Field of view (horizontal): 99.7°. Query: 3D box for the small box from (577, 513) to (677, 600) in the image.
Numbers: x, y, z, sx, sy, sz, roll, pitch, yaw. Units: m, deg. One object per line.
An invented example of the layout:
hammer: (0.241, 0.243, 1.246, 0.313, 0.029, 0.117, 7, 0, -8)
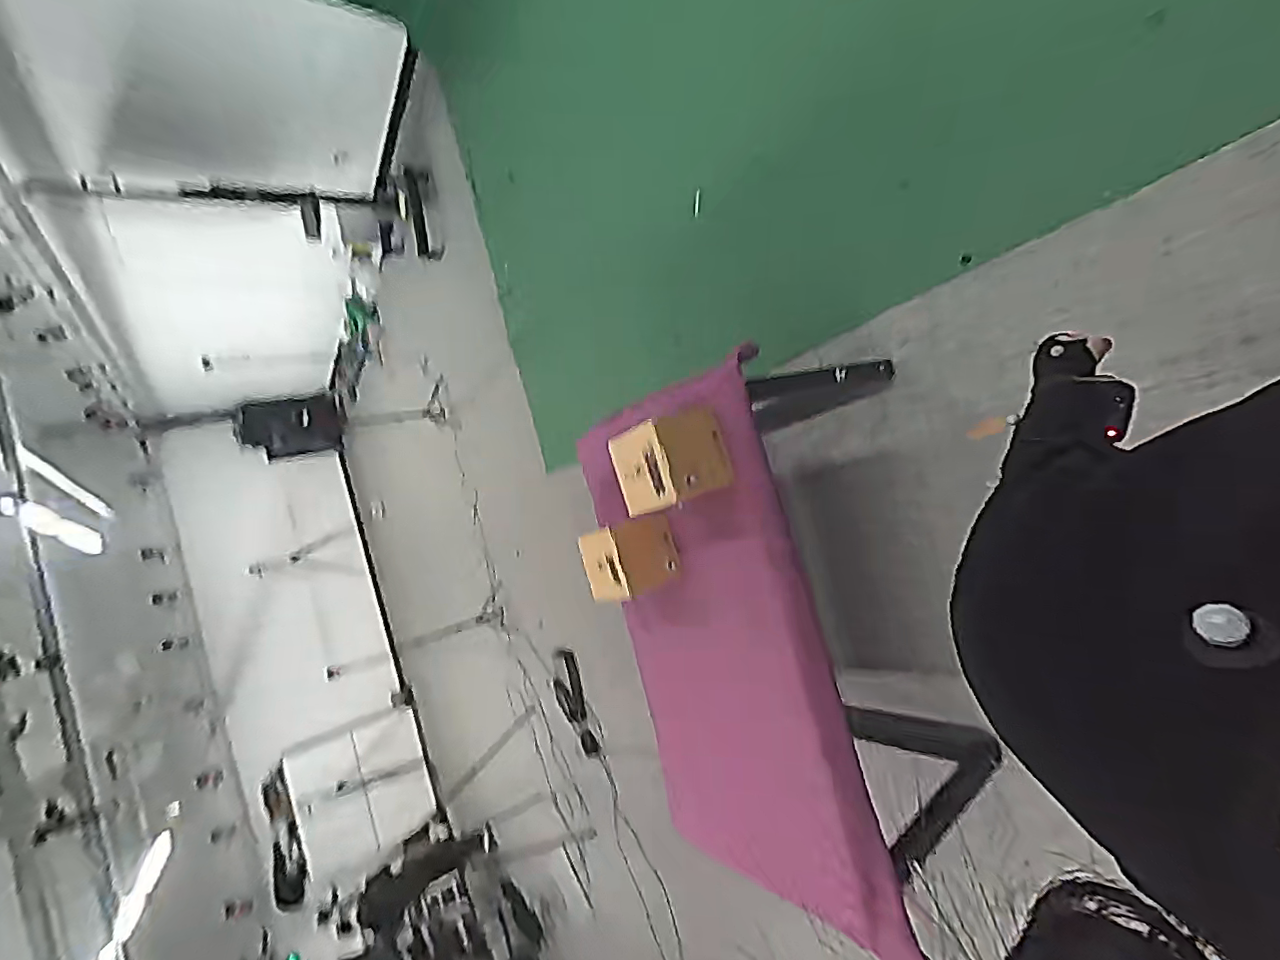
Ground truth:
small box: (-0.026, 0.190, 1.348, 0.179, 0.176, 0.168, -23, 84, 54)
